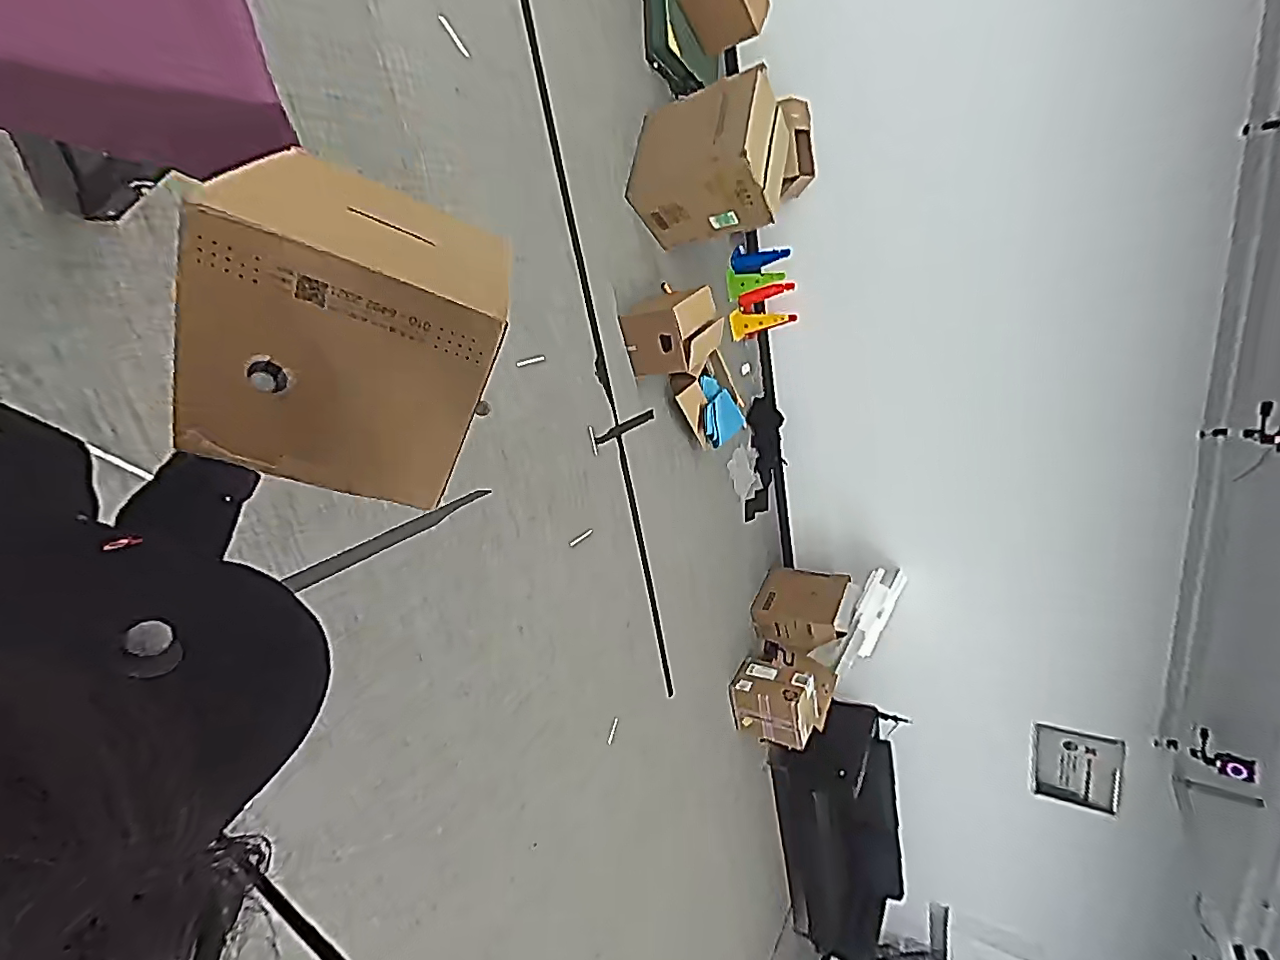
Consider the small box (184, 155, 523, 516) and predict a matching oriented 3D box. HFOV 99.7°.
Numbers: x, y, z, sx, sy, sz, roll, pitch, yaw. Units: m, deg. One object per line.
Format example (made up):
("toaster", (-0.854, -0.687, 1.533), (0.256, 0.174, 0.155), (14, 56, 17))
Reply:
("small box", (-0.194, -0.107, 0.396), (0.168, 0.176, 0.179), (19, 32, -25))
